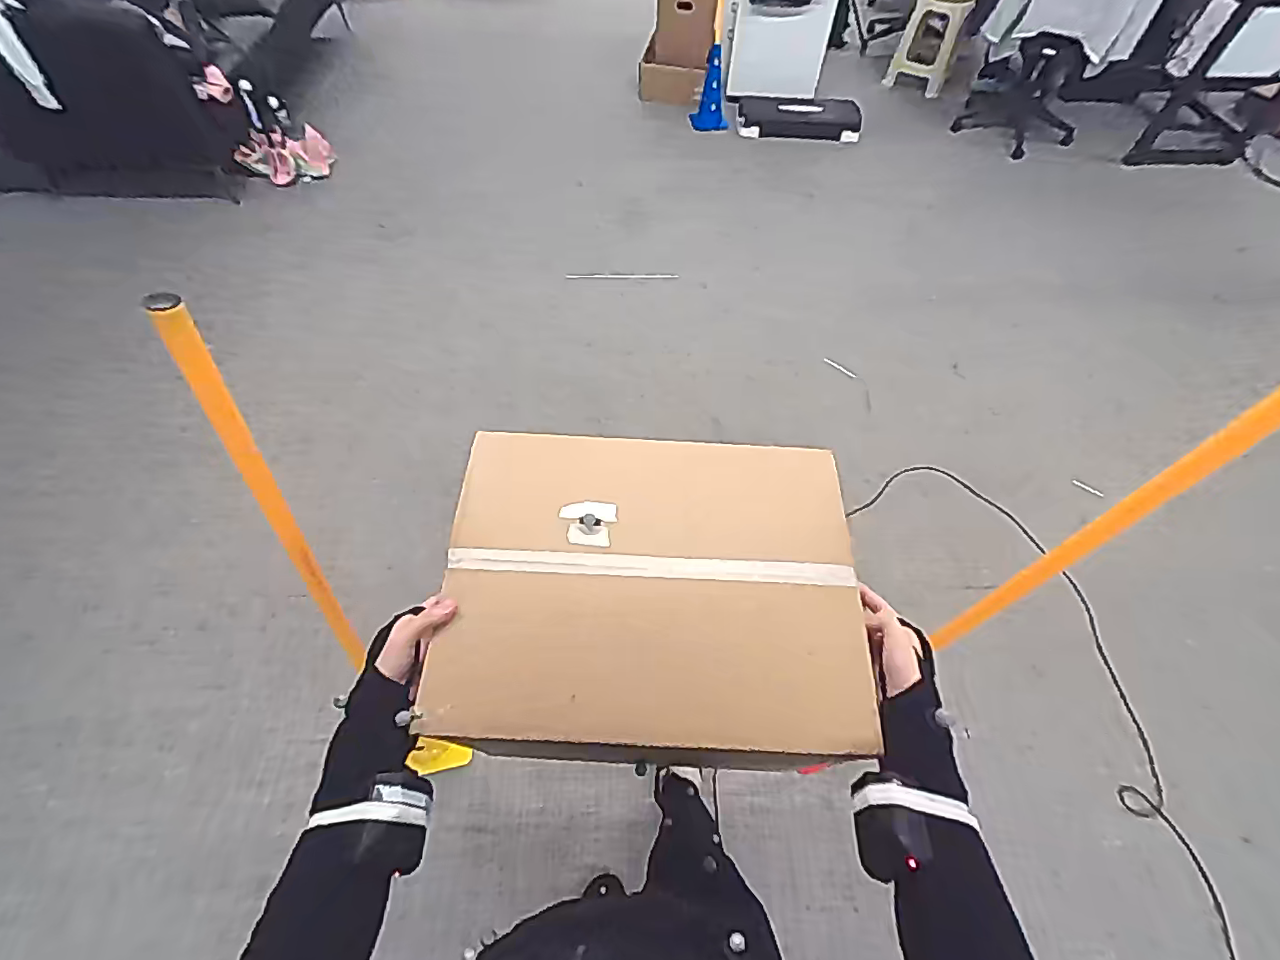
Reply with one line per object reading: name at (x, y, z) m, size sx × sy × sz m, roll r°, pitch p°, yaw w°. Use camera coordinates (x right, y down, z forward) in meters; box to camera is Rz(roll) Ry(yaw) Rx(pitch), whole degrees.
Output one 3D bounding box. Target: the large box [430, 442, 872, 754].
large box at (0.013, 0.167, 0.682) m, size 0.408 × 0.320 × 0.320 m, roll 2°, pitch 59°, yaw 0°
